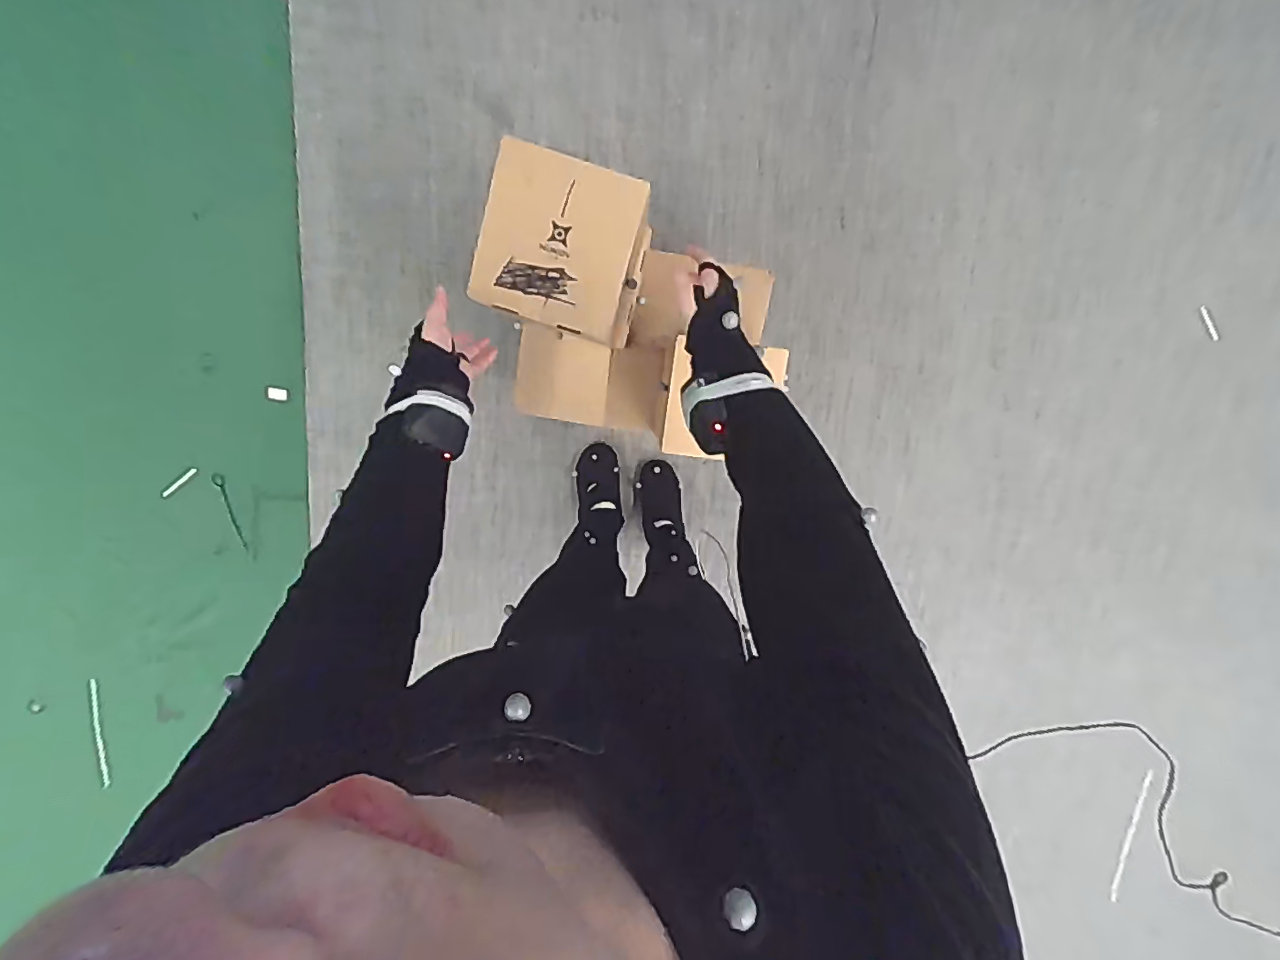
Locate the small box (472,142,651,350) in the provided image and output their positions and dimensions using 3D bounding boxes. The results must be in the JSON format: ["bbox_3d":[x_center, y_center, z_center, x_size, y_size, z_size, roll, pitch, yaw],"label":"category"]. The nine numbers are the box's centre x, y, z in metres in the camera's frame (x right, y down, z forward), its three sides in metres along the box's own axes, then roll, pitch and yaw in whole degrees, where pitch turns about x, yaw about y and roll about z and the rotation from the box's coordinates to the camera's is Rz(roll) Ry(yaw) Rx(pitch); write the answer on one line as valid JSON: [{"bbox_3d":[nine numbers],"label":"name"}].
[{"bbox_3d":[-0.087,-0.271,0.674,0.168,0.176,0.179,17,99,-3],"label":"small box"}]

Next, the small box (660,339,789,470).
[{"bbox_3d":[0.125,-0.125,0.872,0.168,0.176,0.179,7,101,-2],"label":"small box"}]

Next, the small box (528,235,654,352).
[{"bbox_3d":[-0.085,-0.299,0.836,0.179,0.176,0.168,15,101,-4],"label":"small box"}]
